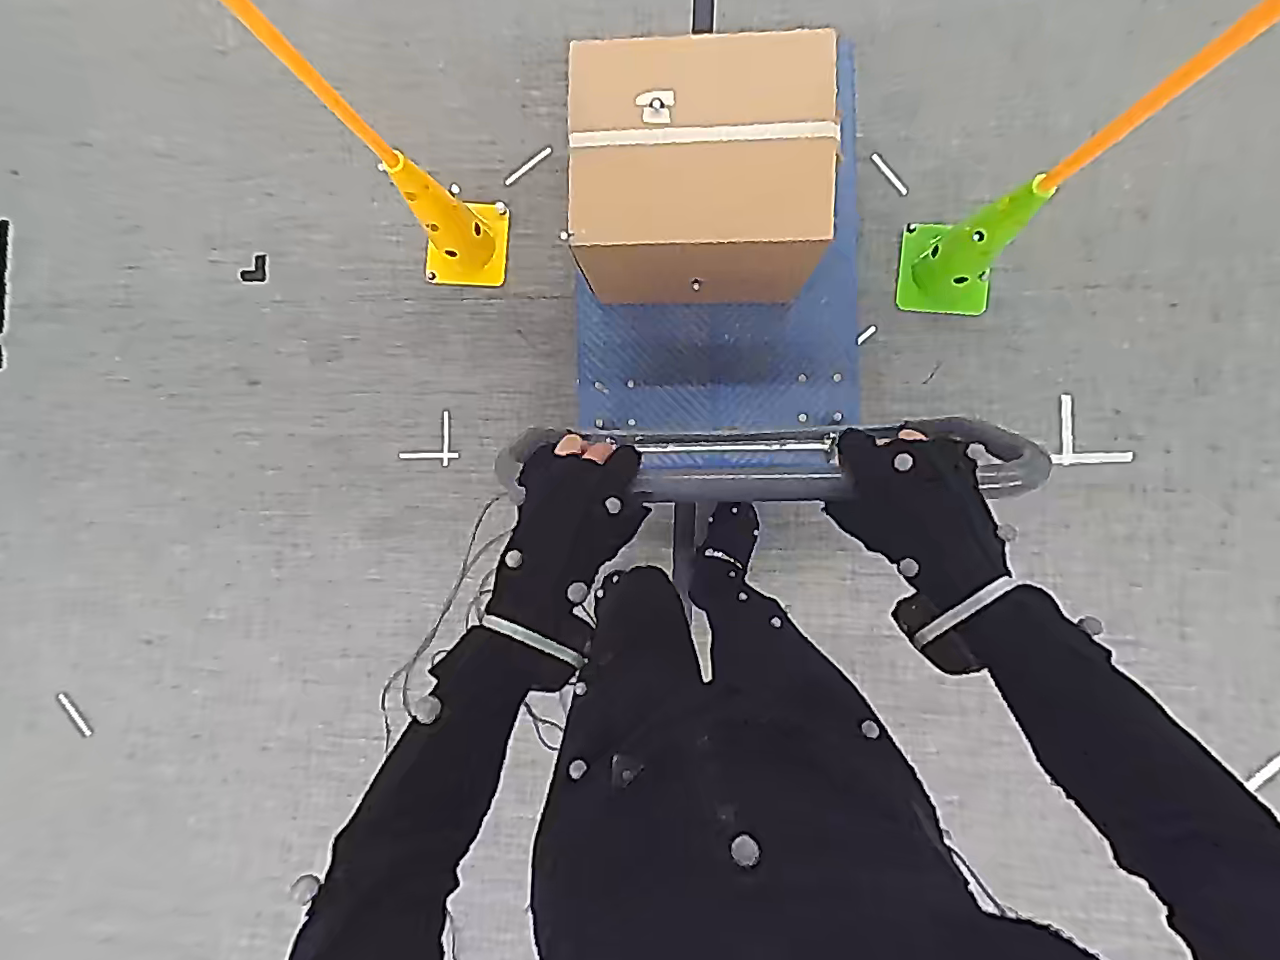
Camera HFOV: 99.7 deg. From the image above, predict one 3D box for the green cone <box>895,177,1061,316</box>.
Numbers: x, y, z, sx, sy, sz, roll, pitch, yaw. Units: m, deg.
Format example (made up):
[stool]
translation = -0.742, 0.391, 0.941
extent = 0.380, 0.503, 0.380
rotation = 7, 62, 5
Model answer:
[green cone]
translation = 0.686, -0.482, 1.077
extent = 0.202, 0.368, 0.200
rotation = 5, 90, 4

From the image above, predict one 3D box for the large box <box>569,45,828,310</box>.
[large box]
translation = 0.102, -0.507, 0.983
extent = 0.408, 0.320, 0.320
rotation = 1, 91, 5
